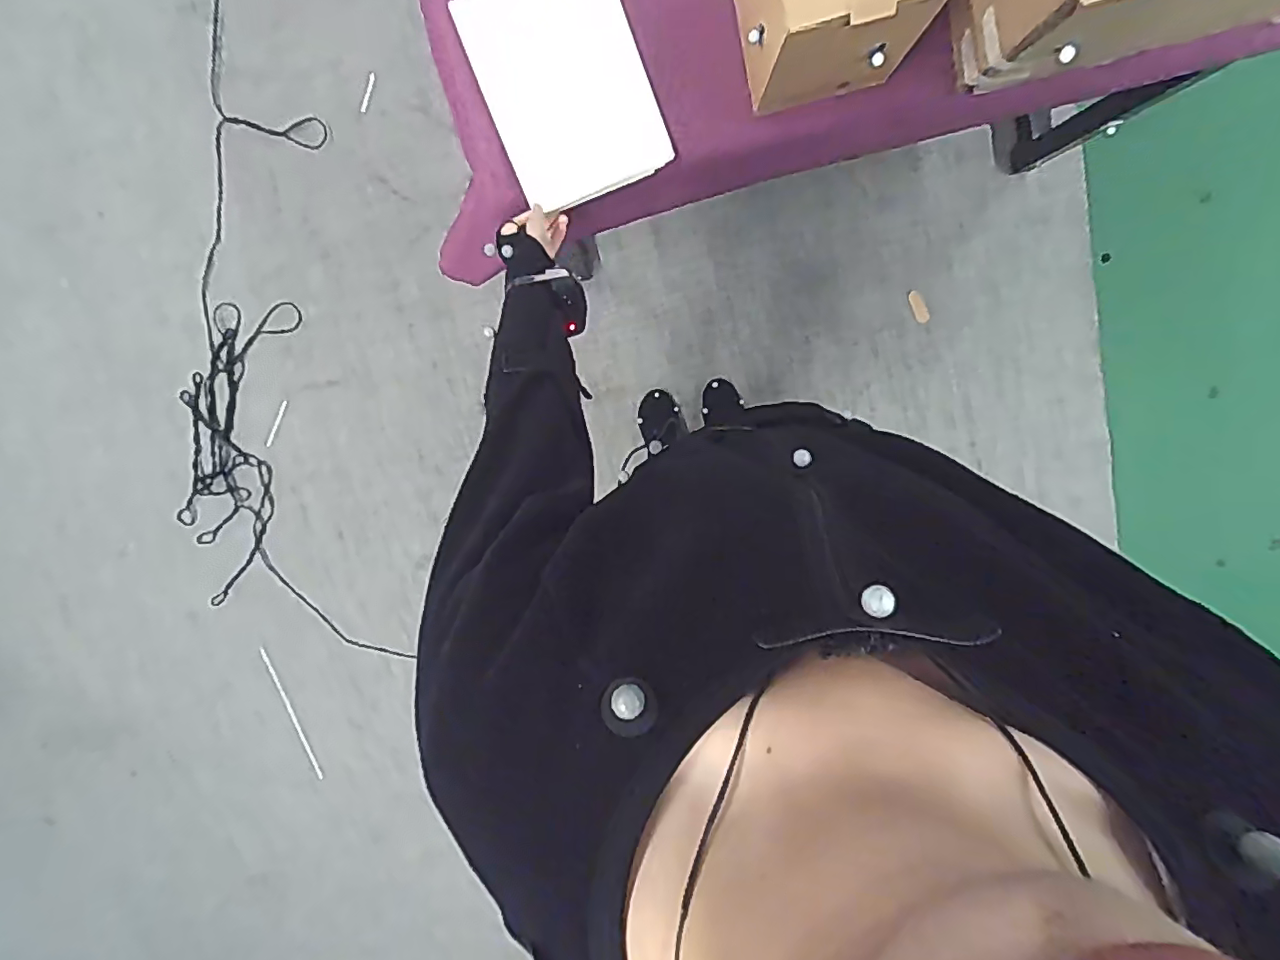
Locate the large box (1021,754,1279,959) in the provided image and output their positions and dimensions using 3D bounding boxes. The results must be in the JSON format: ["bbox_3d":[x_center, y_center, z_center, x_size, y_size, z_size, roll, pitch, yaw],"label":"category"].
[{"bbox_3d":[1.414,1.071,1.529,0.408,0.320,0.320,-28,100,5],"label":"large box"}]

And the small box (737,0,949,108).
[{"bbox_3d":[0.205,-0.538,0.582,0.168,0.176,0.179,-12,99,3],"label":"small box"}]

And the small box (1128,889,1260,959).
[{"bbox_3d":[1.326,1.139,1.295,0.179,0.176,0.168,-23,99,6],"label":"small box"}]
